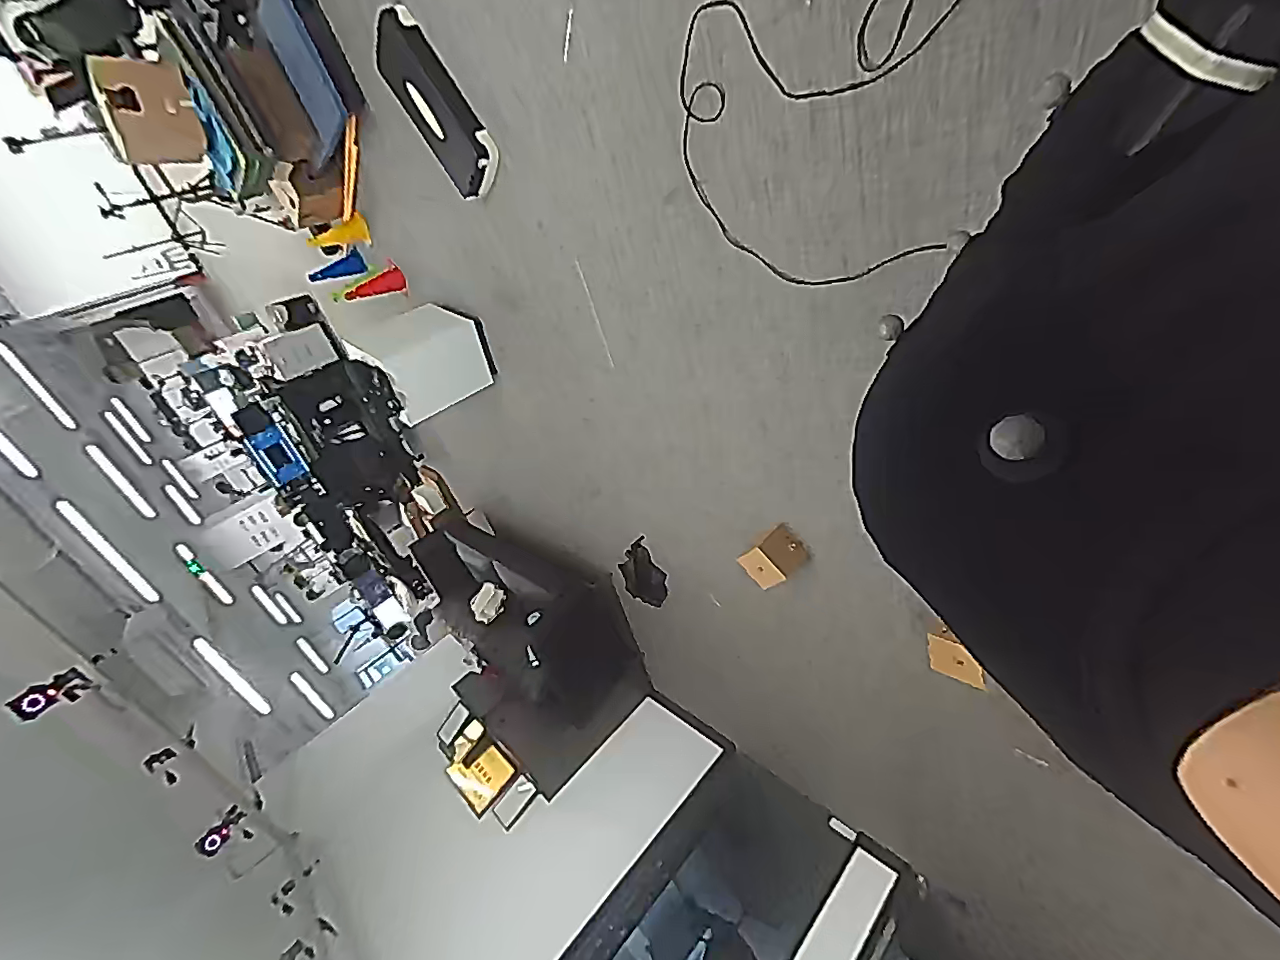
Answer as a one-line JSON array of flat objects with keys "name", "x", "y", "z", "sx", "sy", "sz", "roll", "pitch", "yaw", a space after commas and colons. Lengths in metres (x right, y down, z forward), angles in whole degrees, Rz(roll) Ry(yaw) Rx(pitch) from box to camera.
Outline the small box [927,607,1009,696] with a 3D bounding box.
[{"name": "small box", "x": 1.019, "y": 0.522, "z": 1.676, "sx": 0.179, "sy": 0.176, "sz": 0.168, "roll": 15, "pitch": 133, "yaw": 48}]

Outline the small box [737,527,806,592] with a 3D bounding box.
[{"name": "small box", "x": 0.527, "y": 0.316, "z": 2.155, "sx": 0.168, "sy": 0.176, "sz": 0.179, "roll": 48, "pitch": 149, "yaw": 7}]
